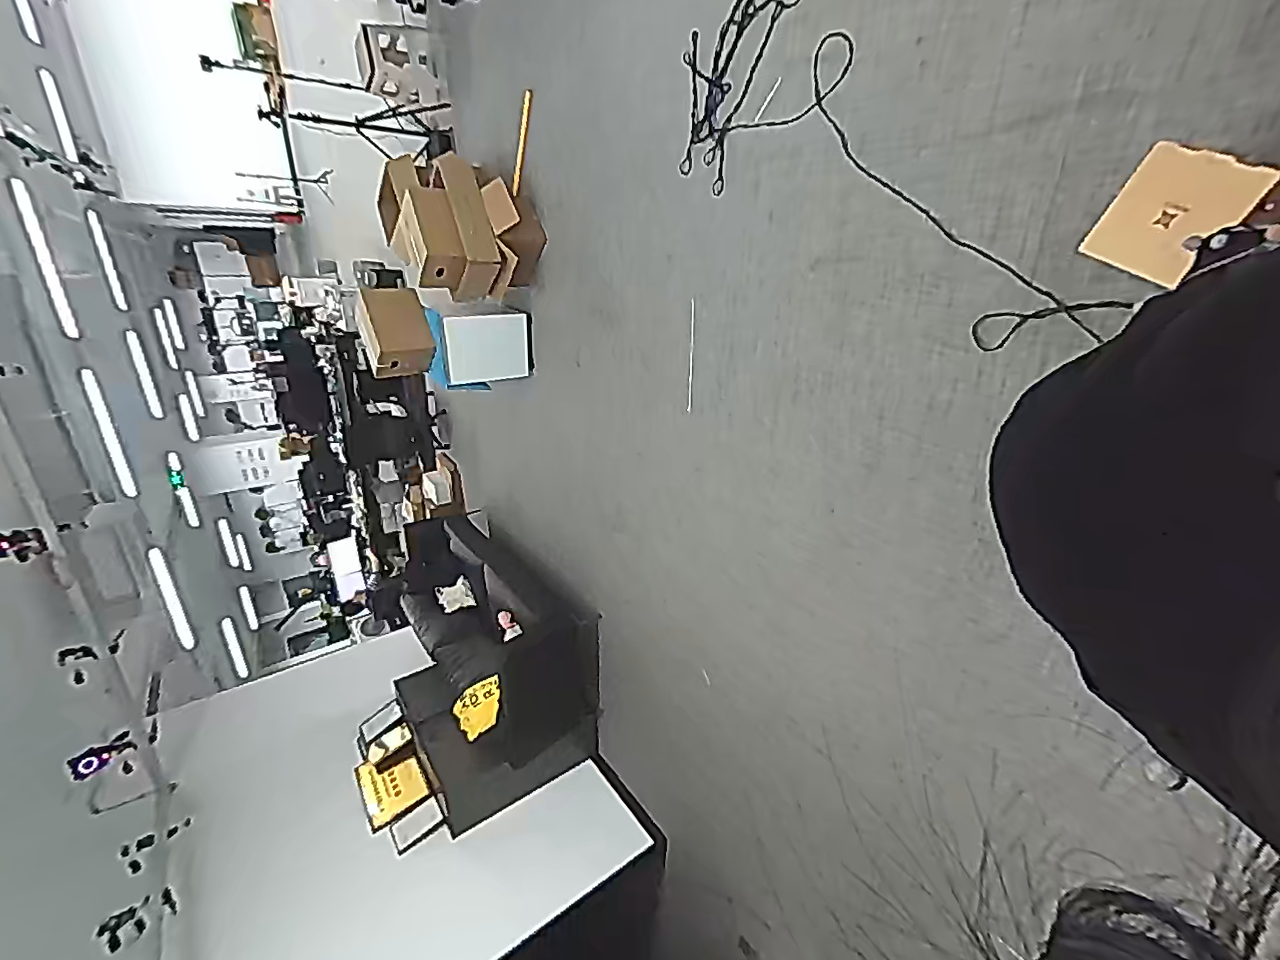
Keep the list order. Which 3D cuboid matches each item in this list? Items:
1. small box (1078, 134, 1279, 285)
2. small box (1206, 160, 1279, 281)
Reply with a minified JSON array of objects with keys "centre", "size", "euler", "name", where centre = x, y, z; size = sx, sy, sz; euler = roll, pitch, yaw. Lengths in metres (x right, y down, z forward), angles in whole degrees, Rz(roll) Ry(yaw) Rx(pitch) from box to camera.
[{"centre":[0.892,-0.439,0.890],"size":[0.168,0.176,0.179],"euler":[50,139,34],"name":"small box"},{"centre":[1.027,-0.473,0.972],"size":[0.168,0.176,0.179],"euler":[45,137,38],"name":"small box"}]
